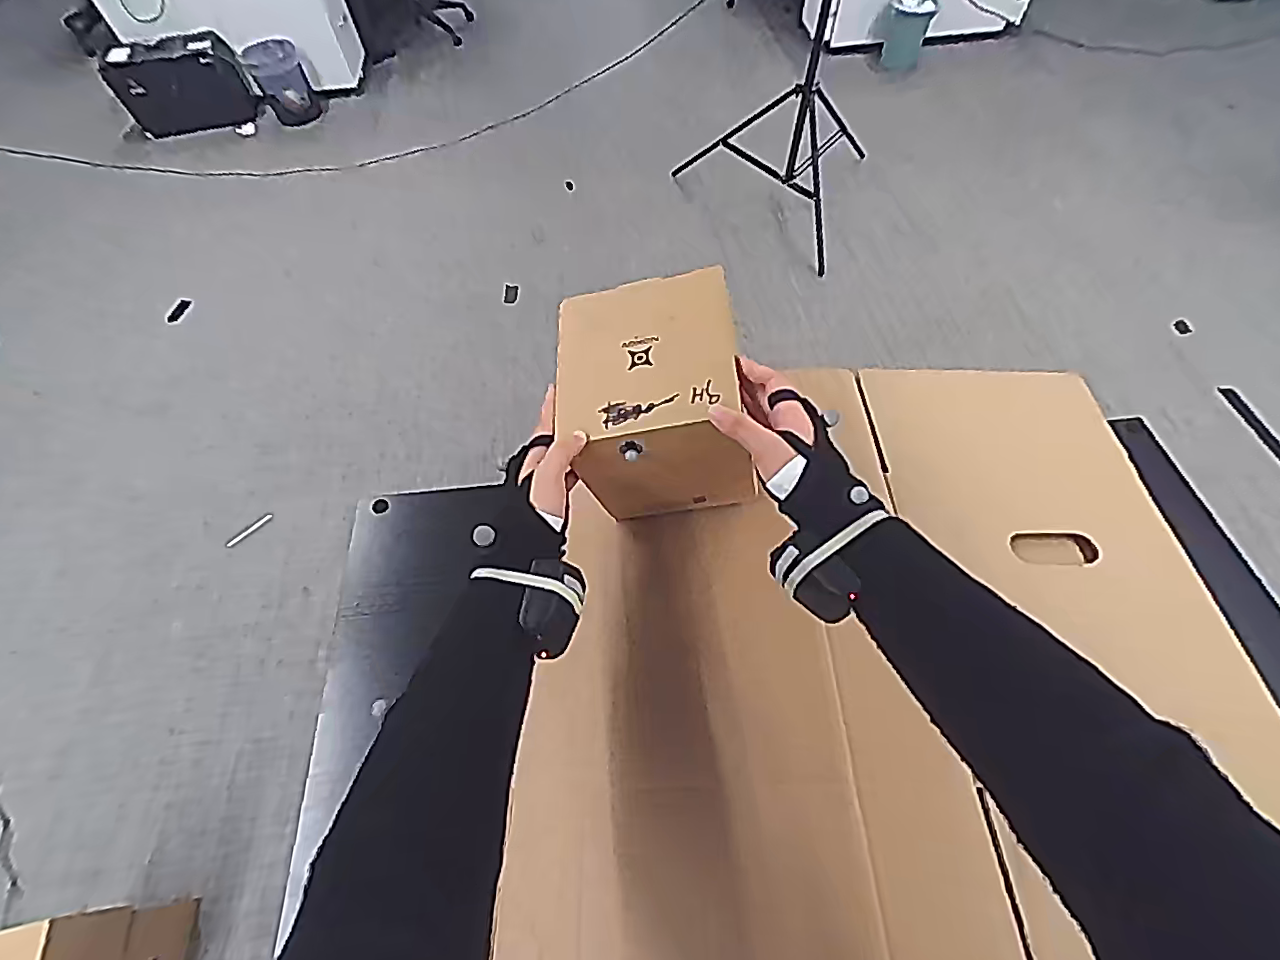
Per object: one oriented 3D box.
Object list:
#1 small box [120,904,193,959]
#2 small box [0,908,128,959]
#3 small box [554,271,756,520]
[{"bbox_3d":[-1.005,0.933,1.027,0.168,0.176,0.179,-10,59,-4],"label":"small box"},{"bbox_3d":[-1.011,0.844,0.892,0.168,0.176,0.179,-12,58,-7],"label":"small box"},{"bbox_3d":[0.023,-0.077,0.561,0.168,0.176,0.179,-9,60,13],"label":"small box"}]
